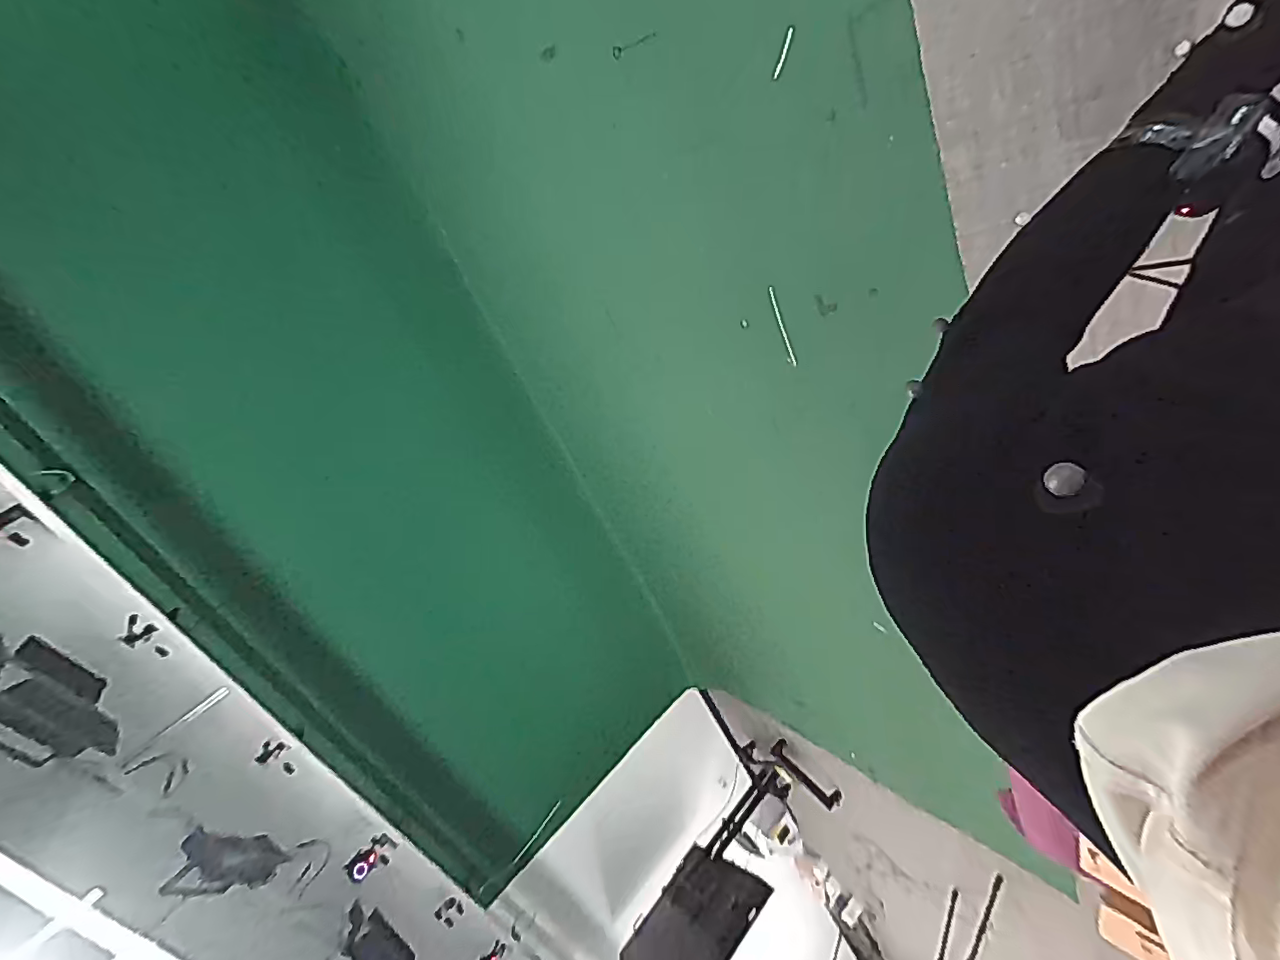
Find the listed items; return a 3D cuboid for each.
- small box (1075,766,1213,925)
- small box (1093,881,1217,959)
[{"bbox_3d":[1.009,0.723,1.088,0.179,0.176,0.168,14,137,50],"label":"small box"},{"bbox_3d":[1.129,0.943,1.190,0.168,0.176,0.179,15,138,50],"label":"small box"}]
